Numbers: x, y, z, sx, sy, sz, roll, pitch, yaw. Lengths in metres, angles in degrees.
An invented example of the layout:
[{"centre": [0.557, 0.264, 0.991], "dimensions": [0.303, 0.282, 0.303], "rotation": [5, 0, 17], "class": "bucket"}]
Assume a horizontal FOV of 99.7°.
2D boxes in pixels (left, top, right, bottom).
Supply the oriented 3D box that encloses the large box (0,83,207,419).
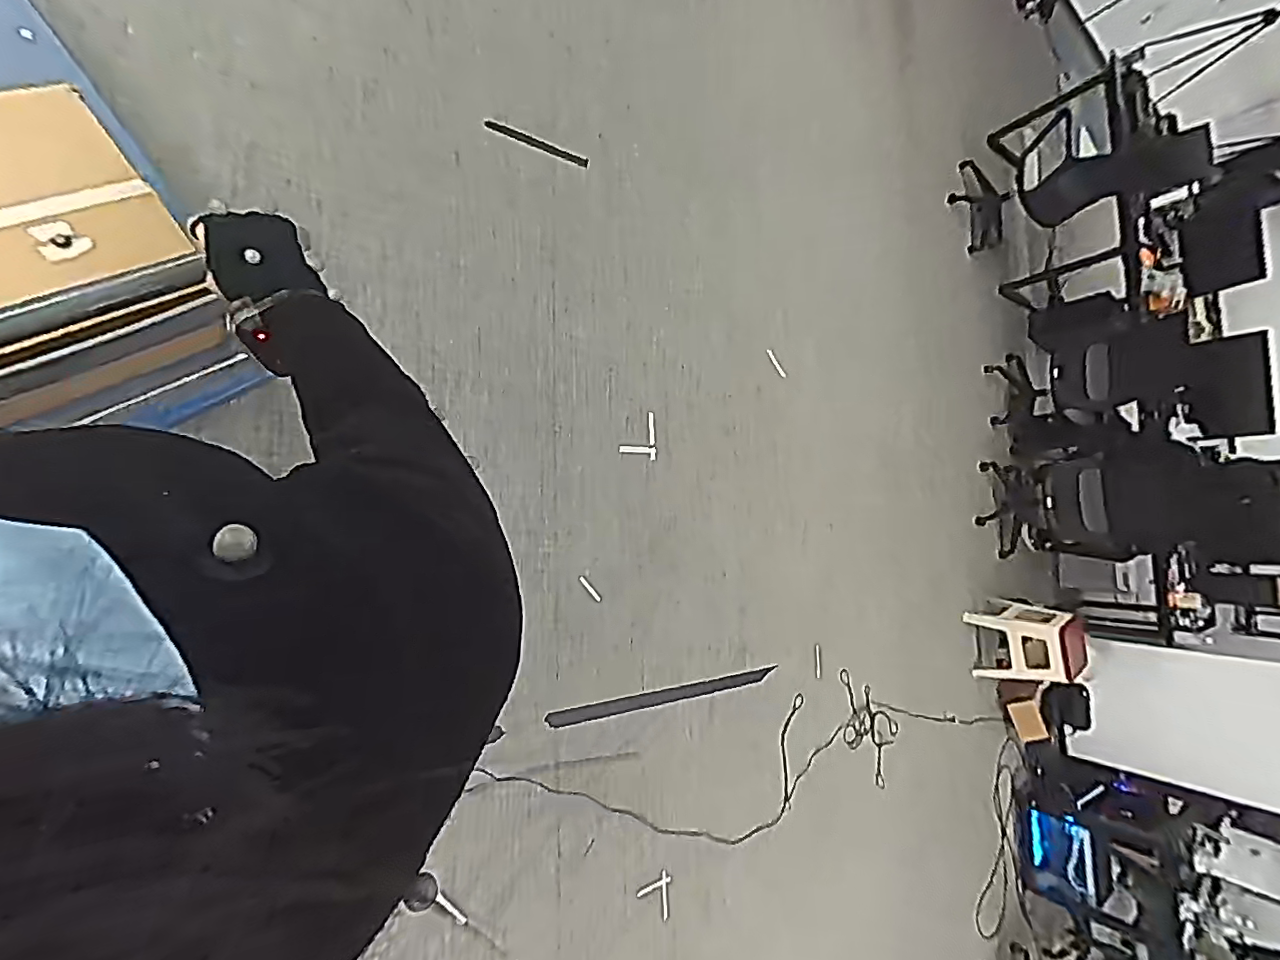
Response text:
[{"centre": [-0.974, -0.315, 0.819], "dimensions": [0.408, 0.320, 0.320], "rotation": [-41, 110, -34], "class": "large box"}]
